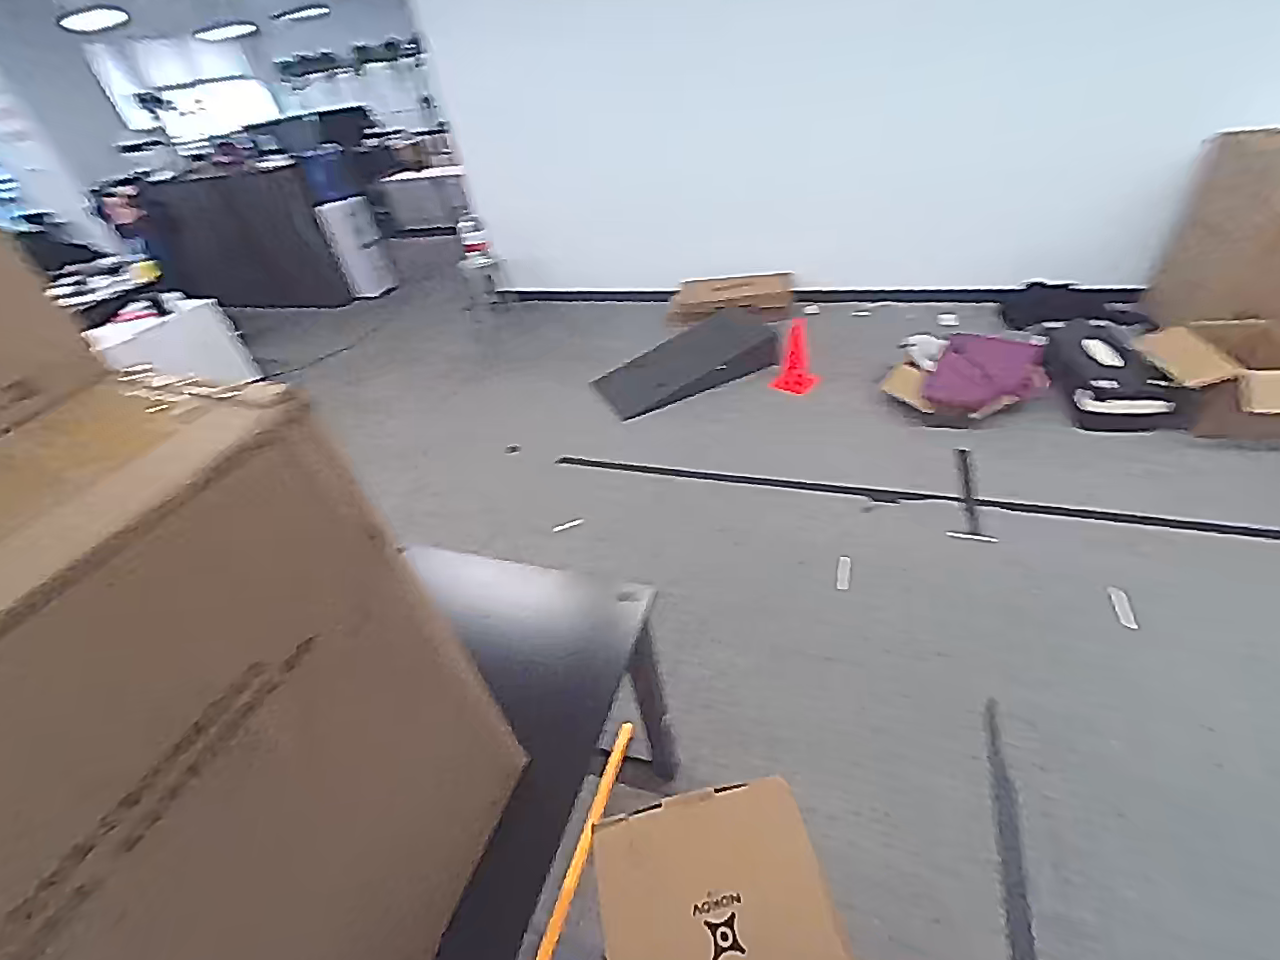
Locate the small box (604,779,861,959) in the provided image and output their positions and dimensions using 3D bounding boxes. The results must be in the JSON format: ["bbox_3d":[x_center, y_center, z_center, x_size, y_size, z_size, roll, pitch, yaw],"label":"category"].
[{"bbox_3d":[0.067,0.374,0.429,0.168,0.176,0.179,-9,42,-6],"label":"small box"}]

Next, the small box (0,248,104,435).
[{"bbox_3d":[-0.562,-0.102,0.379,0.179,0.176,0.168,5,42,20],"label":"small box"}]
